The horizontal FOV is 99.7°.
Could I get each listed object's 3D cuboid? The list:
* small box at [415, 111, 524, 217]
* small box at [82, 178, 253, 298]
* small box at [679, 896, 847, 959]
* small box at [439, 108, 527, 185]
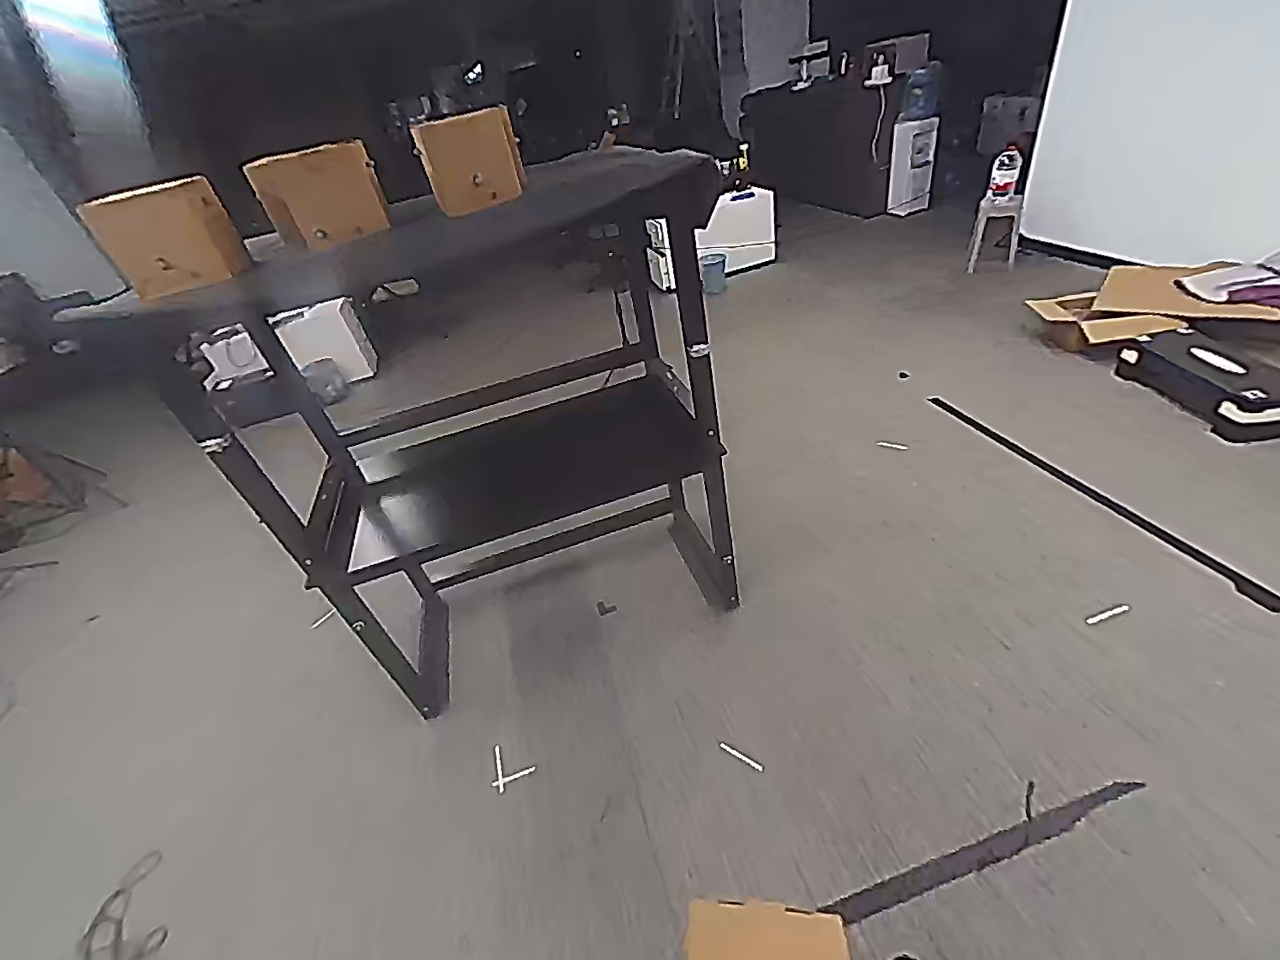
[{"bbox_3d":[-0.371,-0.686,1.178,0.168,0.176,0.179,-23,38,-13],"label":"small box"},{"bbox_3d":[-0.895,-0.471,1.050,0.168,0.176,0.179,-20,38,-10],"label":"small box"},{"bbox_3d":[0.124,0.576,0.563,0.168,0.176,0.179,3,36,4],"label":"small box"},{"bbox_3d":[-0.390,-0.816,1.355,0.179,0.176,0.168,-17,36,-5],"label":"small box"}]
